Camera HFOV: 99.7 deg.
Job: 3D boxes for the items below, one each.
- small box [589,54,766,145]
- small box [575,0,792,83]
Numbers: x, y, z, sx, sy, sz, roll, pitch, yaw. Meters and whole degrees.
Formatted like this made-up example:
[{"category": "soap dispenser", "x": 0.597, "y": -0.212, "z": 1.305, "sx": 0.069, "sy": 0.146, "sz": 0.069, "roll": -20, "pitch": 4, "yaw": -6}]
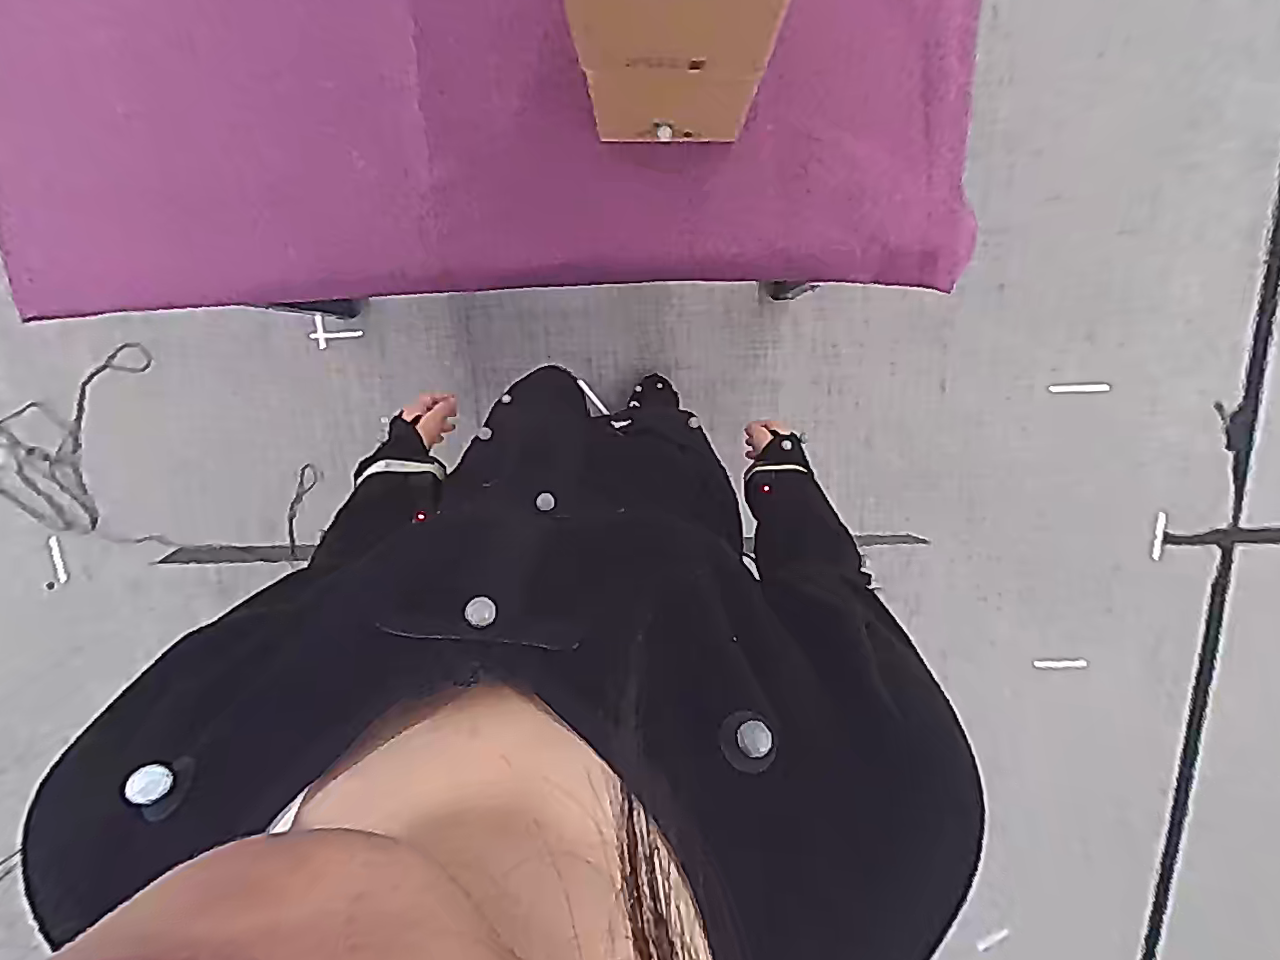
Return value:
[{"category": "small box", "x": 0.037, "y": -0.475, "z": 0.555, "sx": 0.168, "sy": 0.176, "sz": 0.179, "roll": 1, "pitch": 103, "yaw": 1}, {"category": "small box", "x": 0.034, "y": -0.436, "z": 0.396, "sx": 0.168, "sy": 0.176, "sz": 0.179, "roll": 3, "pitch": 101, "yaw": 1}]
